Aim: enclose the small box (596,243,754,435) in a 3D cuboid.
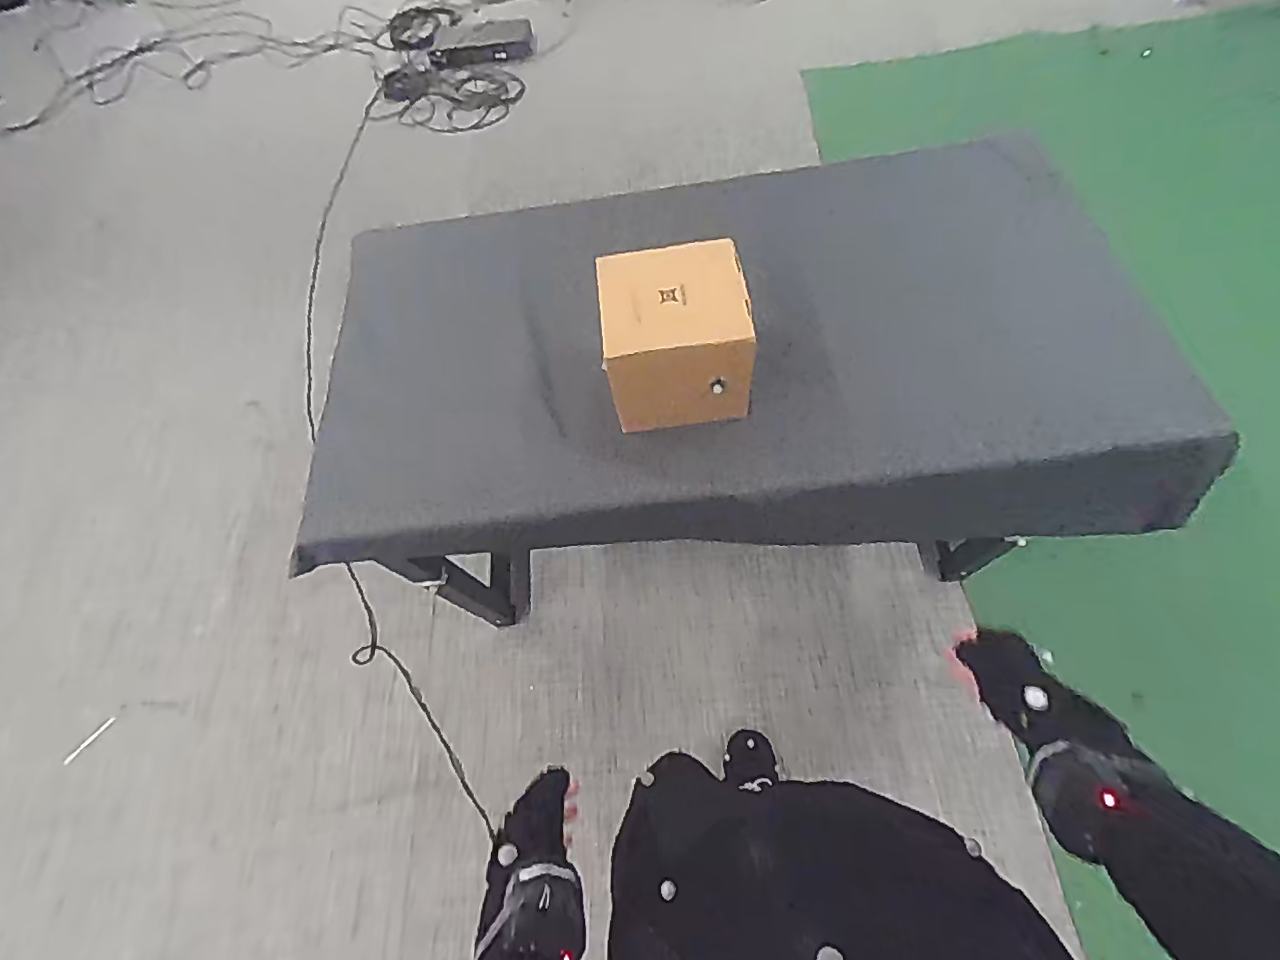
[{"bbox_3d":[0.046,-0.179,0.720,0.179,0.176,0.168,-9,62,4],"label":"small box"}]
